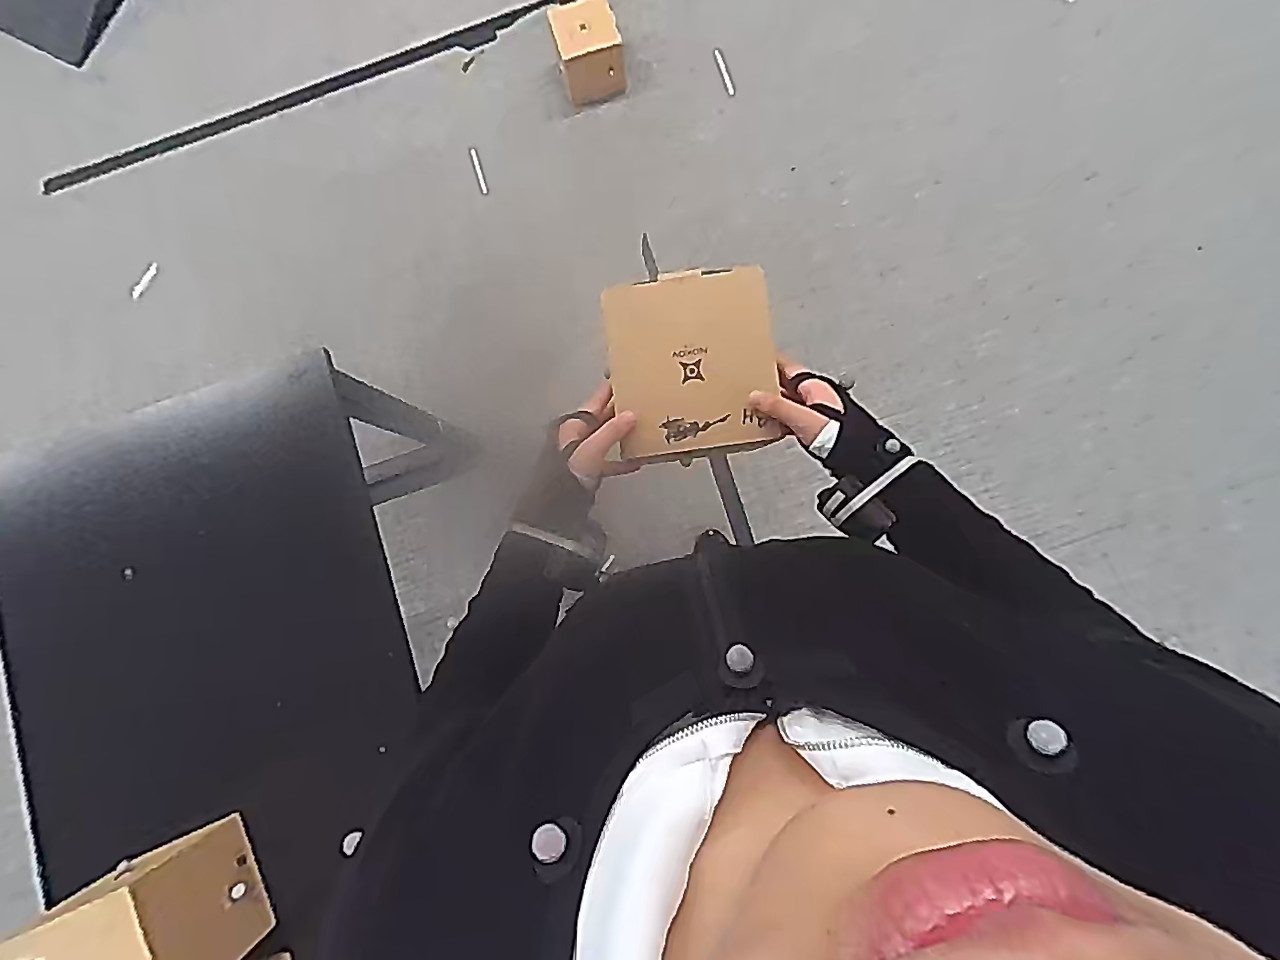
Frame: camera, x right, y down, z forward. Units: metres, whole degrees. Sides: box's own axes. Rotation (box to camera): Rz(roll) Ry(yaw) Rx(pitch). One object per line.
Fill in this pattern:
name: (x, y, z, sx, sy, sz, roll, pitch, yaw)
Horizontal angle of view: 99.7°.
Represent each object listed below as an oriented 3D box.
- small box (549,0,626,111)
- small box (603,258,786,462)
small box: (-0.146, -1.237, 1.582, 0.179, 0.176, 0.168, -19, 83, 2)
small box: (0.057, -0.121, 0.612, 0.168, 0.176, 0.179, -8, 88, 4)
